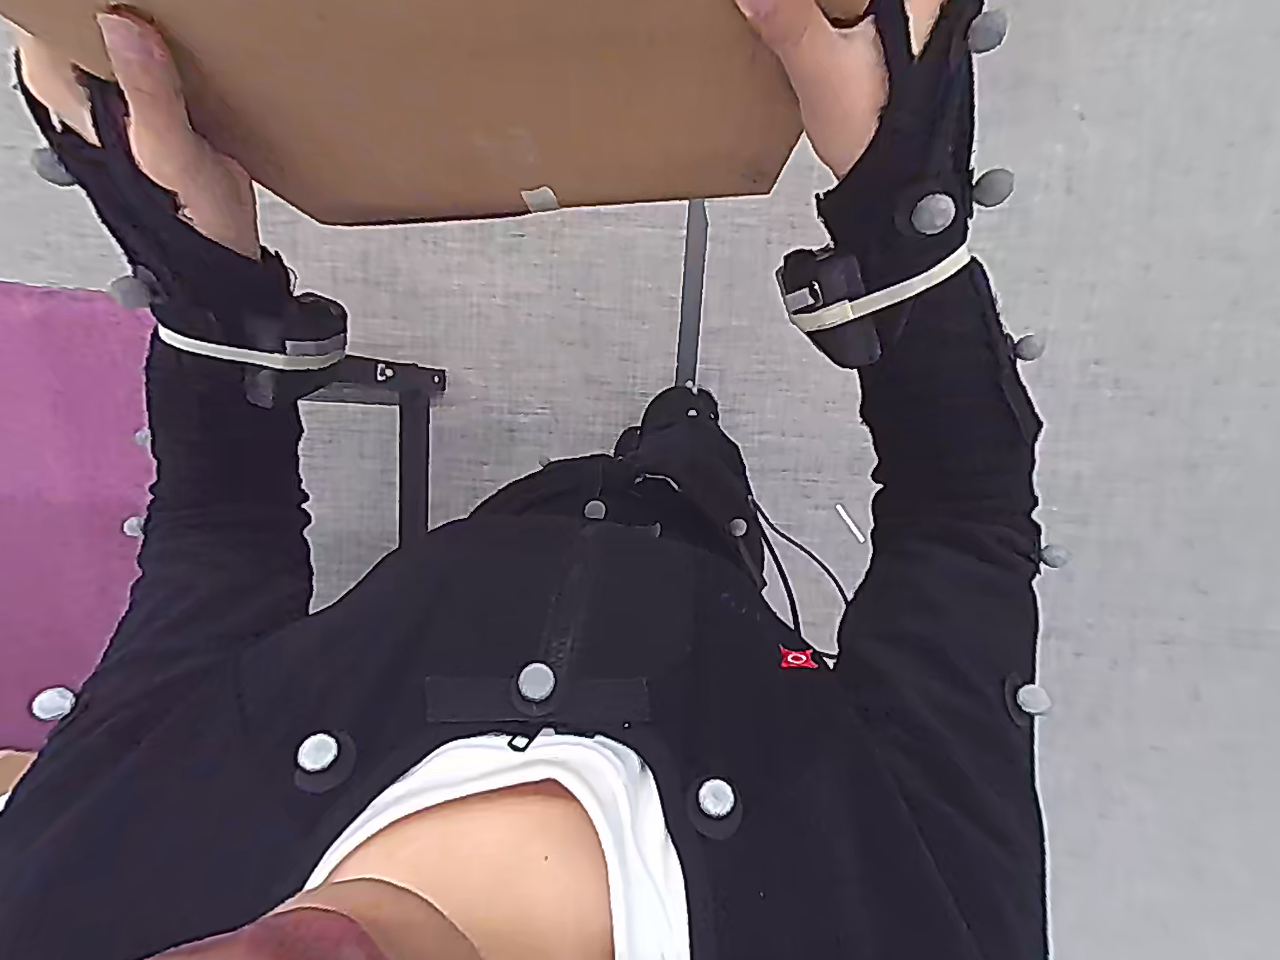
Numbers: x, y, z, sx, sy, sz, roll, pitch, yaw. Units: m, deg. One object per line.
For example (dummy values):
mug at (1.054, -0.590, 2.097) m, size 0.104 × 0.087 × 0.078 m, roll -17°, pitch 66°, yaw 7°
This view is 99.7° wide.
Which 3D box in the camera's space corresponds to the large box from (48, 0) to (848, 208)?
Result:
large box at (-0.080, -0.379, 0.202) m, size 0.320 × 0.320 × 0.408 m, roll -5°, pitch 95°, yaw 2°
